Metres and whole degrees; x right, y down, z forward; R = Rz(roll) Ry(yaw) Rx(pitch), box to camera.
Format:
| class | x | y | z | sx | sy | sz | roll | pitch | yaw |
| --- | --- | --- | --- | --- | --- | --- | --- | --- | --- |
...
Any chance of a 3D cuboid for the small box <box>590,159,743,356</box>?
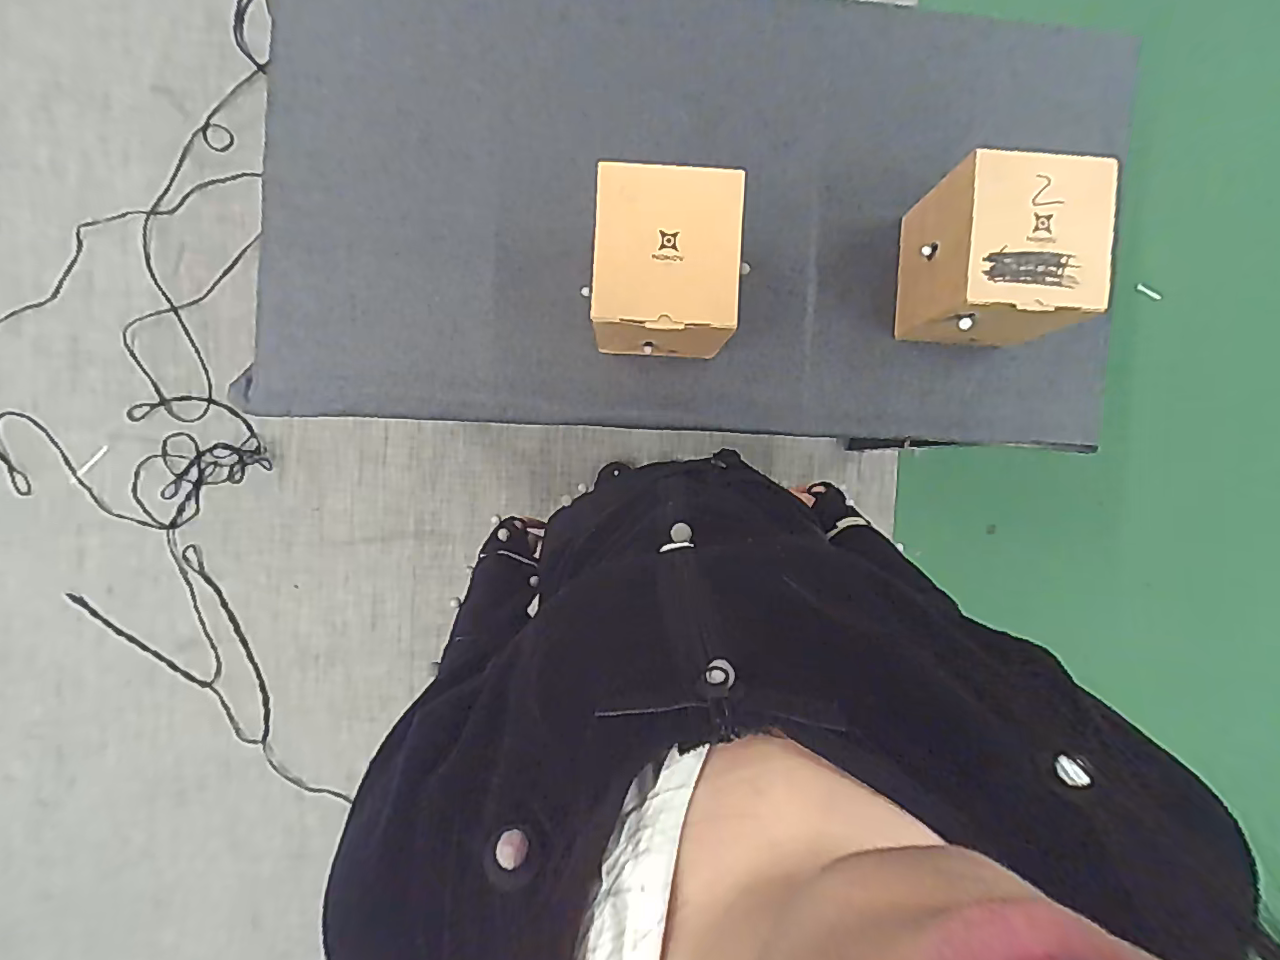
| class | x | y | z | sx | sy | sz | roll | pitch | yaw |
| --- | --- | --- | --- | --- | --- | --- | --- | --- | --- |
| small box | 0.024 | -0.263 | 0.677 | 0.168 | 0.176 | 0.179 | 2 | 92 | -3 |
